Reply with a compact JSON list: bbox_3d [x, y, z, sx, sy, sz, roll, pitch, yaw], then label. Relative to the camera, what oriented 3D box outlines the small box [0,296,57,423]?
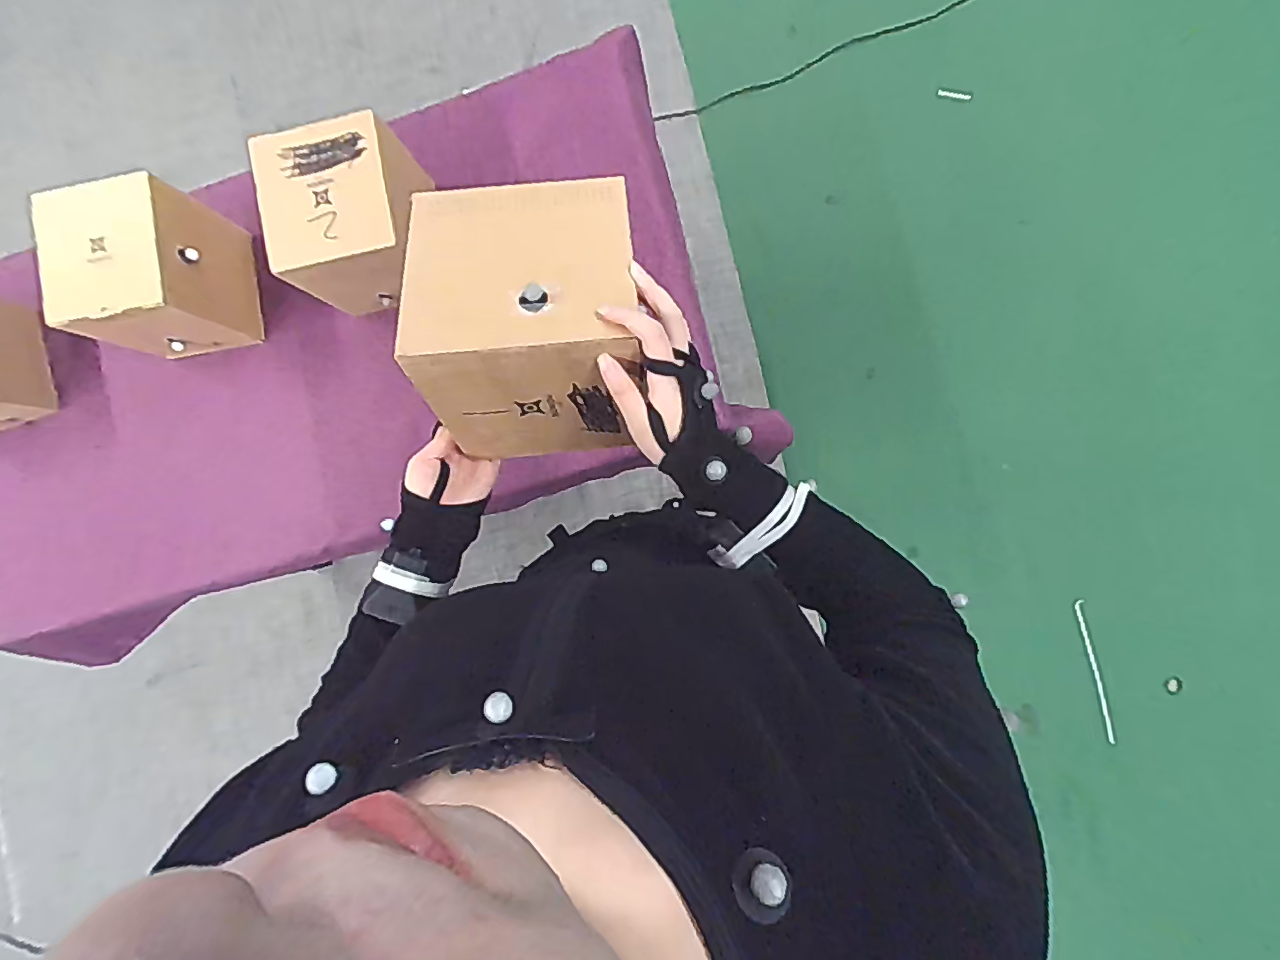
[{"bbox_3d":[-1.028,-0.183,0.789,0.168,0.176,0.179,-16,88,4],"label":"small box"}]

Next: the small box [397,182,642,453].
[{"bbox_3d":[-0.093,-0.139,0.485,0.179,0.168,0.176,-4,67,0],"label":"small box"}]

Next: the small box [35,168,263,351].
[{"bbox_3d":[-0.680,-0.299,0.767,0.168,0.176,0.179,-8,89,4],"label":"small box"}]
